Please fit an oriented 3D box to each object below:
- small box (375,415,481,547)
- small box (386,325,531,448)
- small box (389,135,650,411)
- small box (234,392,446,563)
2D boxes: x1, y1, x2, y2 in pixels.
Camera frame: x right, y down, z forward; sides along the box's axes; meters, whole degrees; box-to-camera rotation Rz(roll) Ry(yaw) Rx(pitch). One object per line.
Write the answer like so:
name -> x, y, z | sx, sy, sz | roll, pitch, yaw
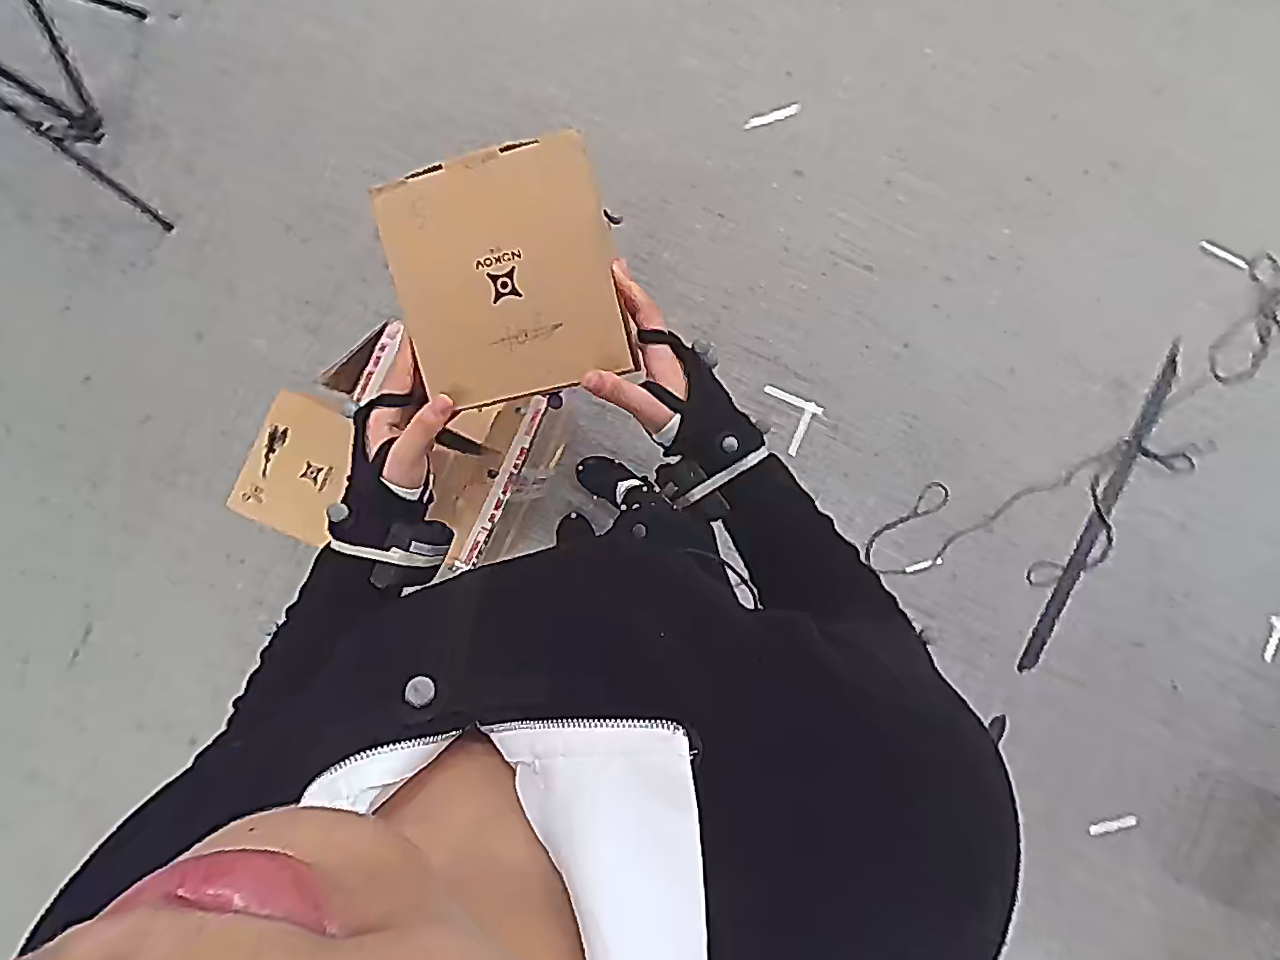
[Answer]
small box -> -0.397, -0.001, 0.920 | 0.179, 0.176, 0.168 | 23, 91, -4
small box -> -0.289, -0.163, 0.925 | 0.179, 0.176, 0.168 | 25, 88, -3
small box -> -0.088, -0.165, 0.486 | 0.168, 0.176, 0.179 | -11, 100, 6
small box -> -0.399, -0.006, 0.756 | 0.179, 0.176, 0.168 | 25, 90, -4
